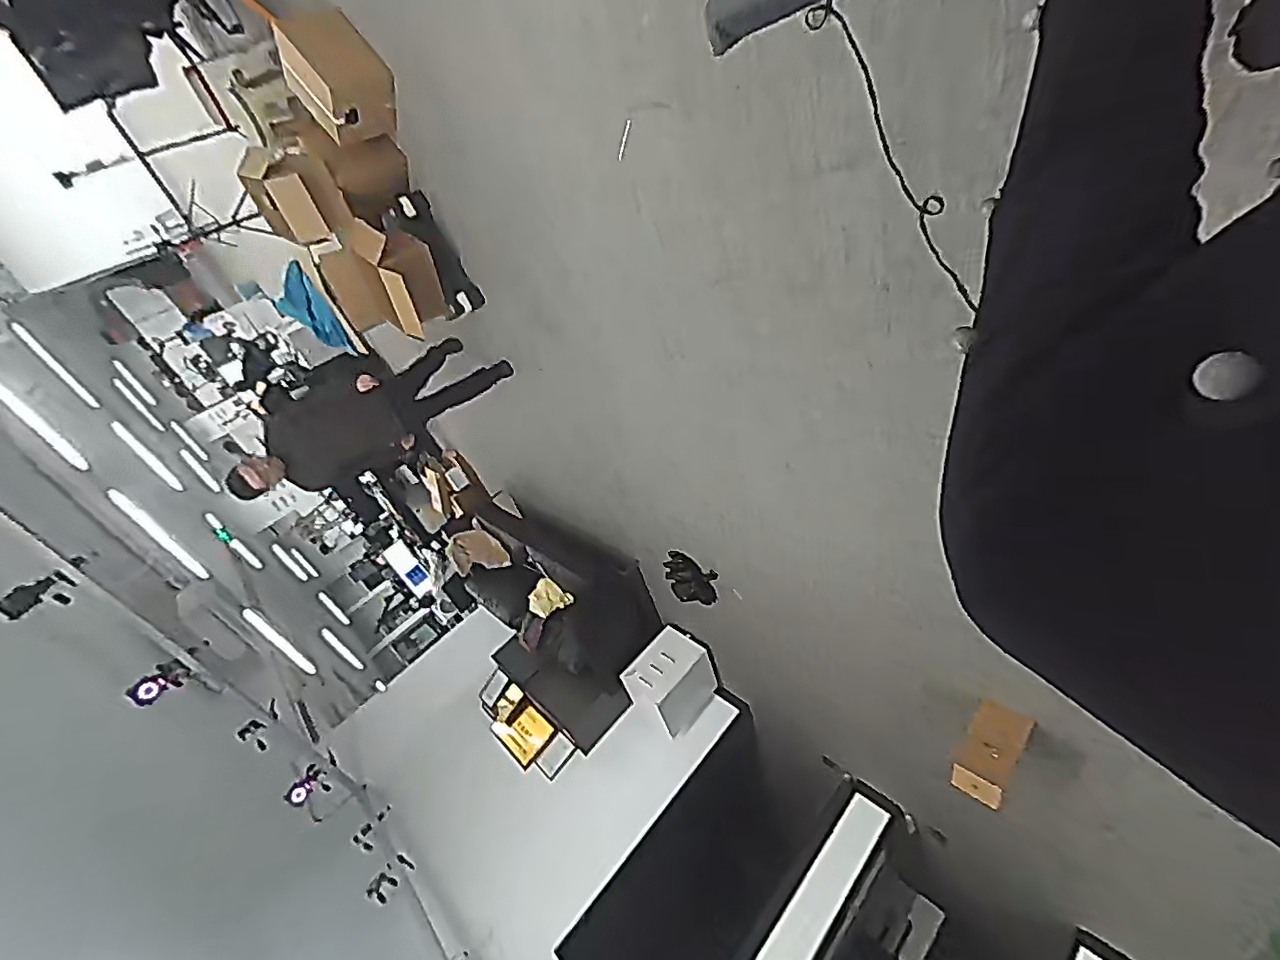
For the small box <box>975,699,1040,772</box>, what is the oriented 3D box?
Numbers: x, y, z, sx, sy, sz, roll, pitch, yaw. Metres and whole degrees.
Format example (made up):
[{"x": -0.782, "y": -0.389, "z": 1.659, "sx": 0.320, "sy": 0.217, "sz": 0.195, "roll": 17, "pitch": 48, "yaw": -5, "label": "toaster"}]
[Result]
[{"x": 1.474, "y": 1.019, "z": 2.173, "sx": 0.179, "sy": 0.176, "sz": 0.168, "roll": 22, "pitch": 142, "yaw": 43, "label": "small box"}]

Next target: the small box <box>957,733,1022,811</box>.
[{"x": 1.354, "y": 1.129, "z": 2.098, "sx": 0.168, "sy": 0.176, "sz": 0.179, "roll": 19, "pitch": 139, "yaw": 43, "label": "small box"}]
